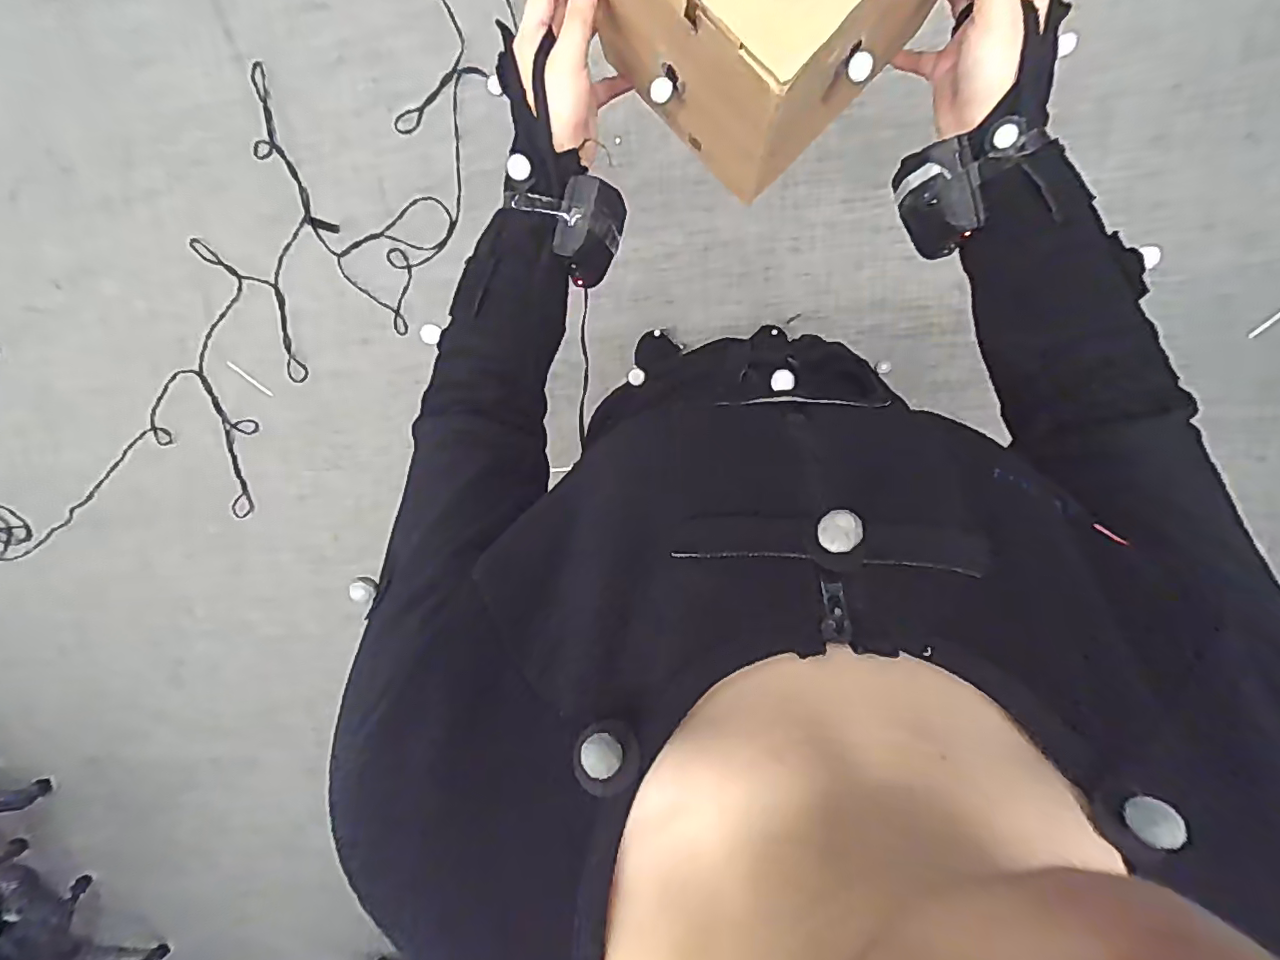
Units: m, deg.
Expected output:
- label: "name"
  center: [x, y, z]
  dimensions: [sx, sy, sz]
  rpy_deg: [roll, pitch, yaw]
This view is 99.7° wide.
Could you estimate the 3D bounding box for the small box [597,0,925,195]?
- label: "small box"
  center: [0.081, -0.324, 0.341]
  dimensions: [0.168, 0.176, 0.179]
  rpy_deg: [45, 100, -2]
